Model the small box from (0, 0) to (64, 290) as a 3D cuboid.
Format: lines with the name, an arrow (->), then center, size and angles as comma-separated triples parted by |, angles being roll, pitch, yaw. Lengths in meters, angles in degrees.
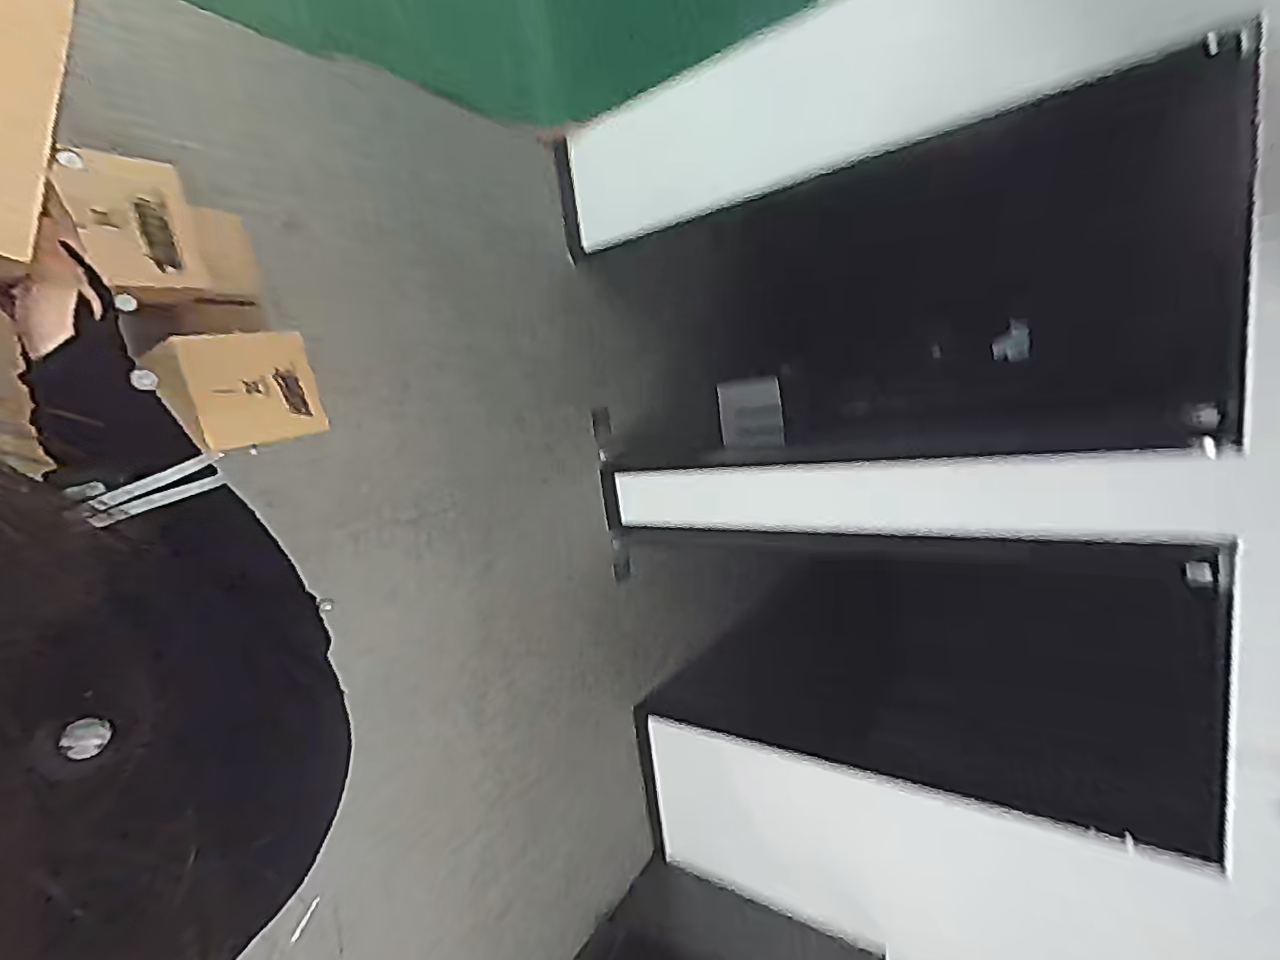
small box -> -0.454, -0.218, 0.296 | 0.168, 0.176, 0.179 | 8, 90, -52

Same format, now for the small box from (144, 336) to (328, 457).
small box -> -0.657, -0.137, 0.885 | 0.179, 0.176, 0.168 | -24, 107, -52
